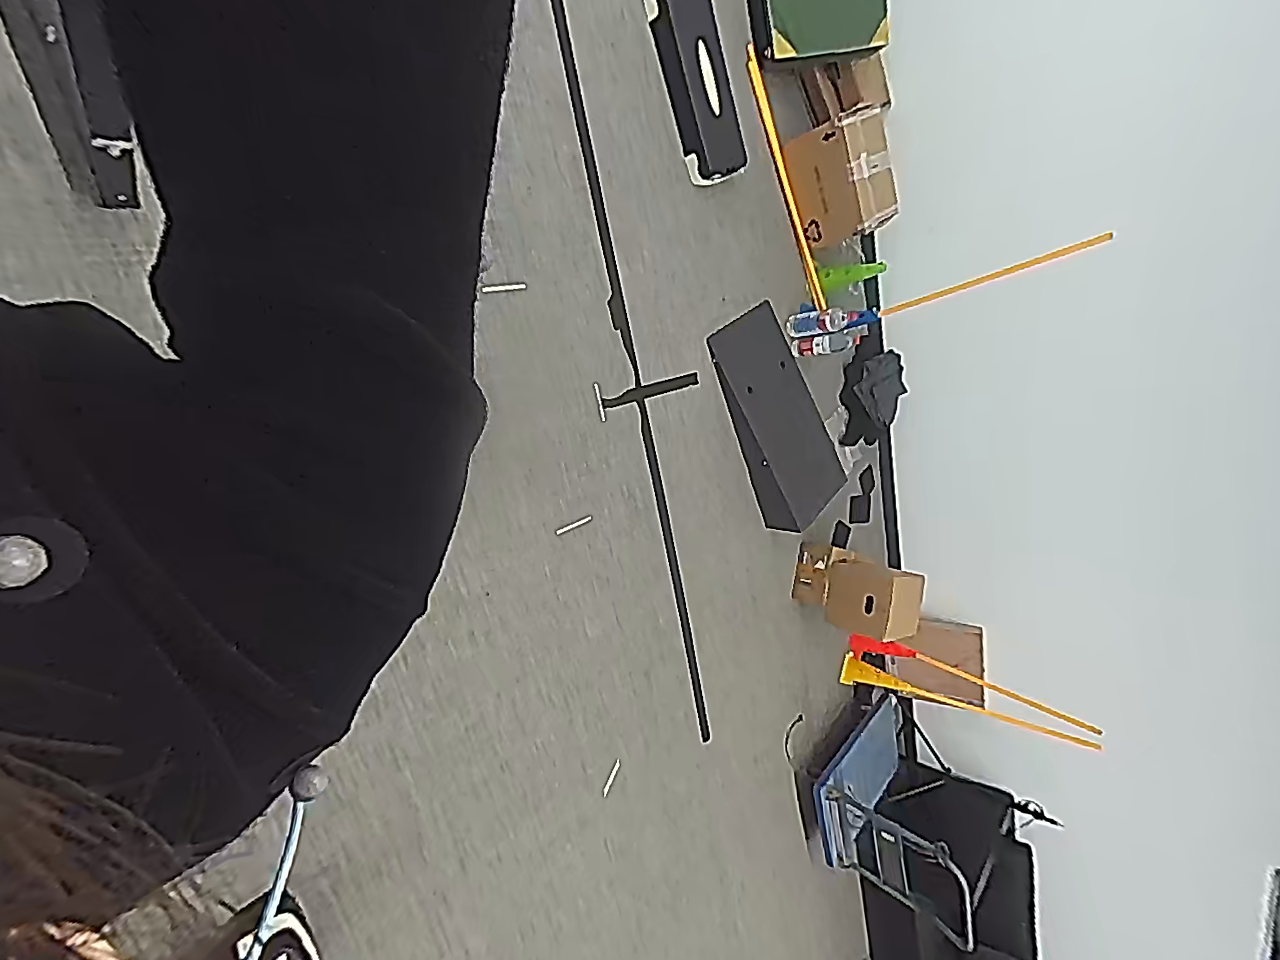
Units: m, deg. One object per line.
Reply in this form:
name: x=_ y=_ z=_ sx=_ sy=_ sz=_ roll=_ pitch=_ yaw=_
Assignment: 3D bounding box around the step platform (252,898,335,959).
step platform: x=-1.002 y=1.239 z=1.107 sx=0.684 sy=0.204 sz=0.286 roll=-16 pitch=103 yaw=-41
